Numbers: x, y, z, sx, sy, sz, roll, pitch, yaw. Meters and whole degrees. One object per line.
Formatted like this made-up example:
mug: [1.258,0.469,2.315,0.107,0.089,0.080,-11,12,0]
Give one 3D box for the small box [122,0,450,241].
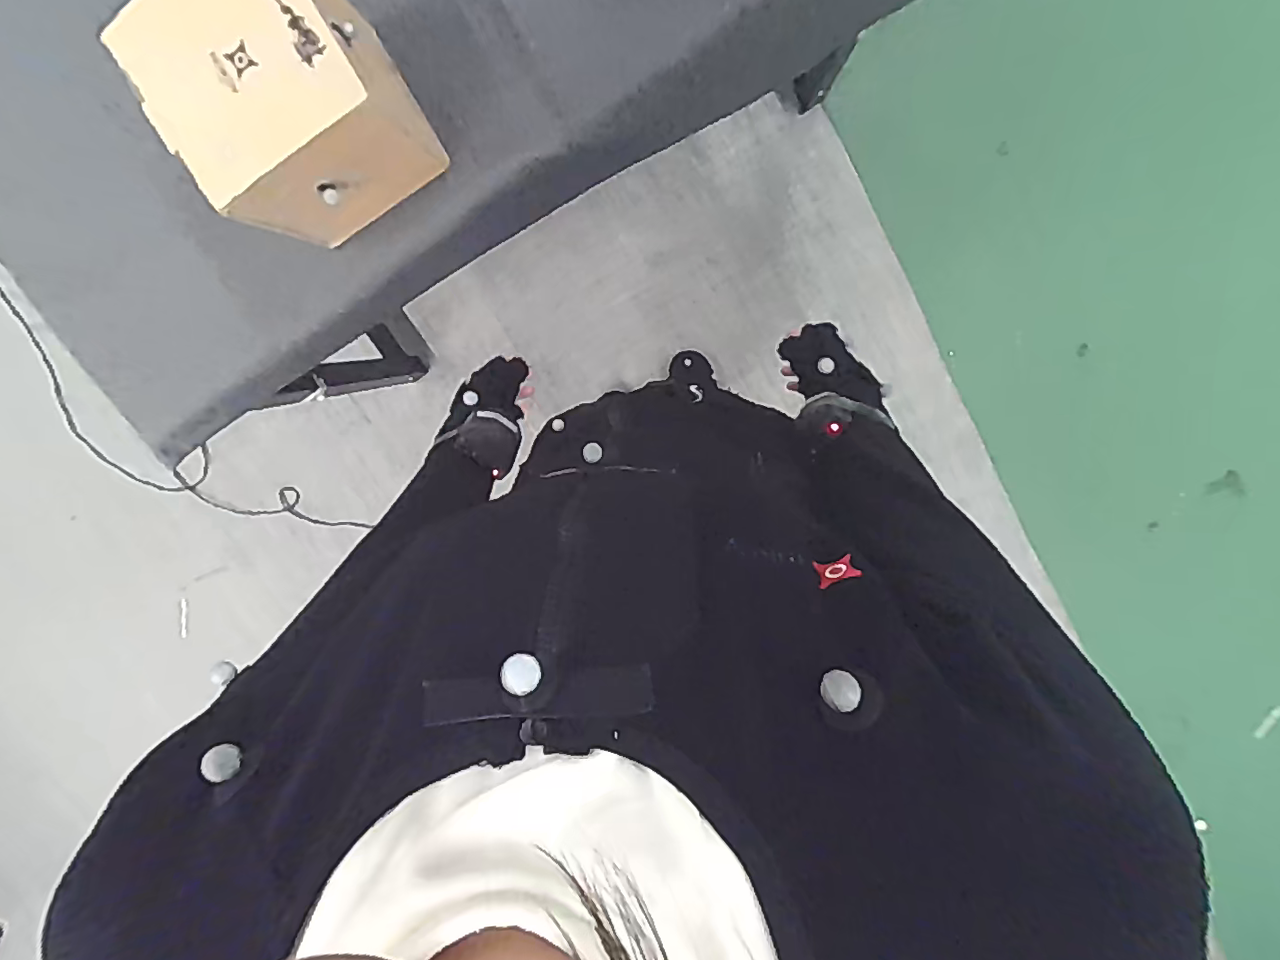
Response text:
small box: [-0.328,-0.368,0.539,0.179,0.176,0.168,-29,99,11]
